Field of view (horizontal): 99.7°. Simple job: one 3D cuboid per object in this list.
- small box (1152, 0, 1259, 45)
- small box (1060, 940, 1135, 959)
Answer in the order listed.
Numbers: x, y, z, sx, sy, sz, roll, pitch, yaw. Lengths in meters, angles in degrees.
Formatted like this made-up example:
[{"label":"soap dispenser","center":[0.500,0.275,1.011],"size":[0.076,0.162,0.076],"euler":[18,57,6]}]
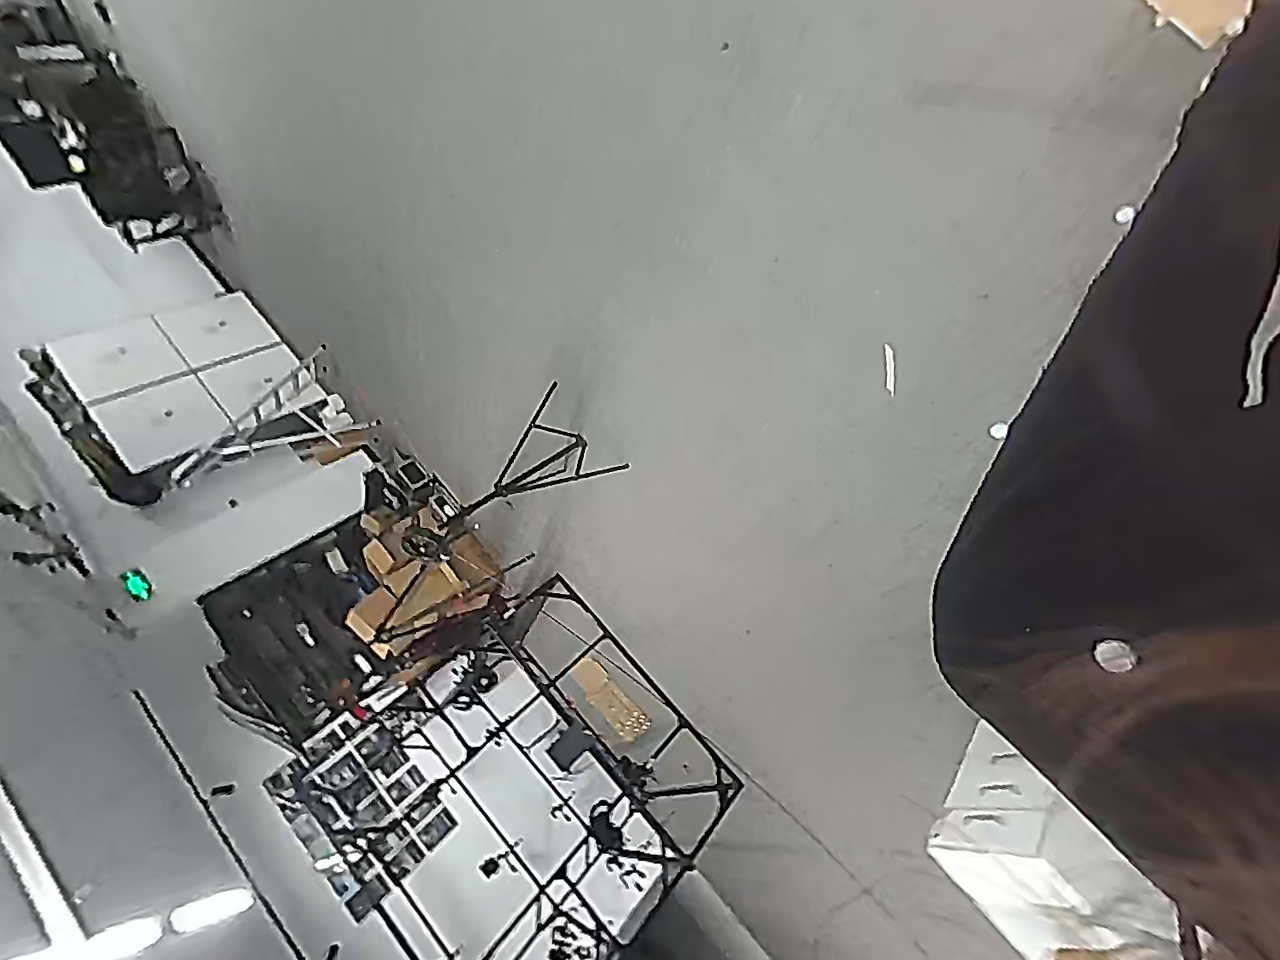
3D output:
[{"label":"small box","center":[0.839,-0.759,0.753],"size":[0.168,0.176,0.179],"euler":[49,148,7]},{"label":"small box","center":[1.226,1.354,1.406],"size":[0.168,0.176,0.179],"euler":[46,146,10]}]
